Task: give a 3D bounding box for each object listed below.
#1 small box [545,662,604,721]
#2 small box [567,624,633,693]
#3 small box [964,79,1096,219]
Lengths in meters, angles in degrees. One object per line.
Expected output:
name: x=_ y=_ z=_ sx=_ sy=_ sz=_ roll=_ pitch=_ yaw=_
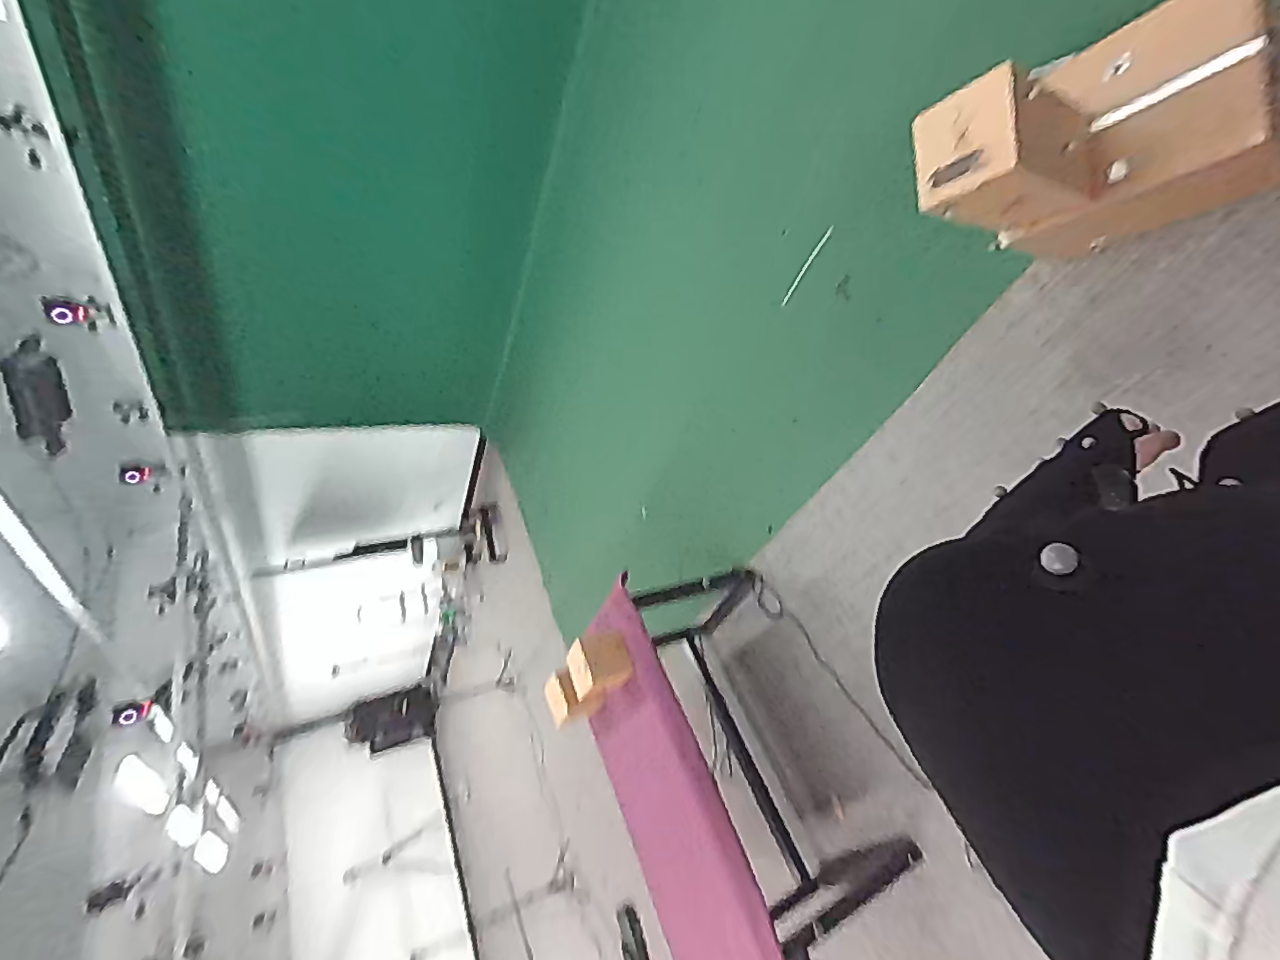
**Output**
small box: x=-0.265 y=0.848 z=2.202 sx=0.168 sy=0.176 sz=0.179 roll=60 pitch=140 yaw=29
small box: x=-0.146 y=0.651 z=1.980 sx=0.168 sy=0.176 sz=0.179 roll=63 pitch=145 yaw=28
small box: x=0.776 y=-0.640 z=1.075 sx=0.168 sy=0.176 sz=0.179 roll=0 pitch=96 yaw=57
